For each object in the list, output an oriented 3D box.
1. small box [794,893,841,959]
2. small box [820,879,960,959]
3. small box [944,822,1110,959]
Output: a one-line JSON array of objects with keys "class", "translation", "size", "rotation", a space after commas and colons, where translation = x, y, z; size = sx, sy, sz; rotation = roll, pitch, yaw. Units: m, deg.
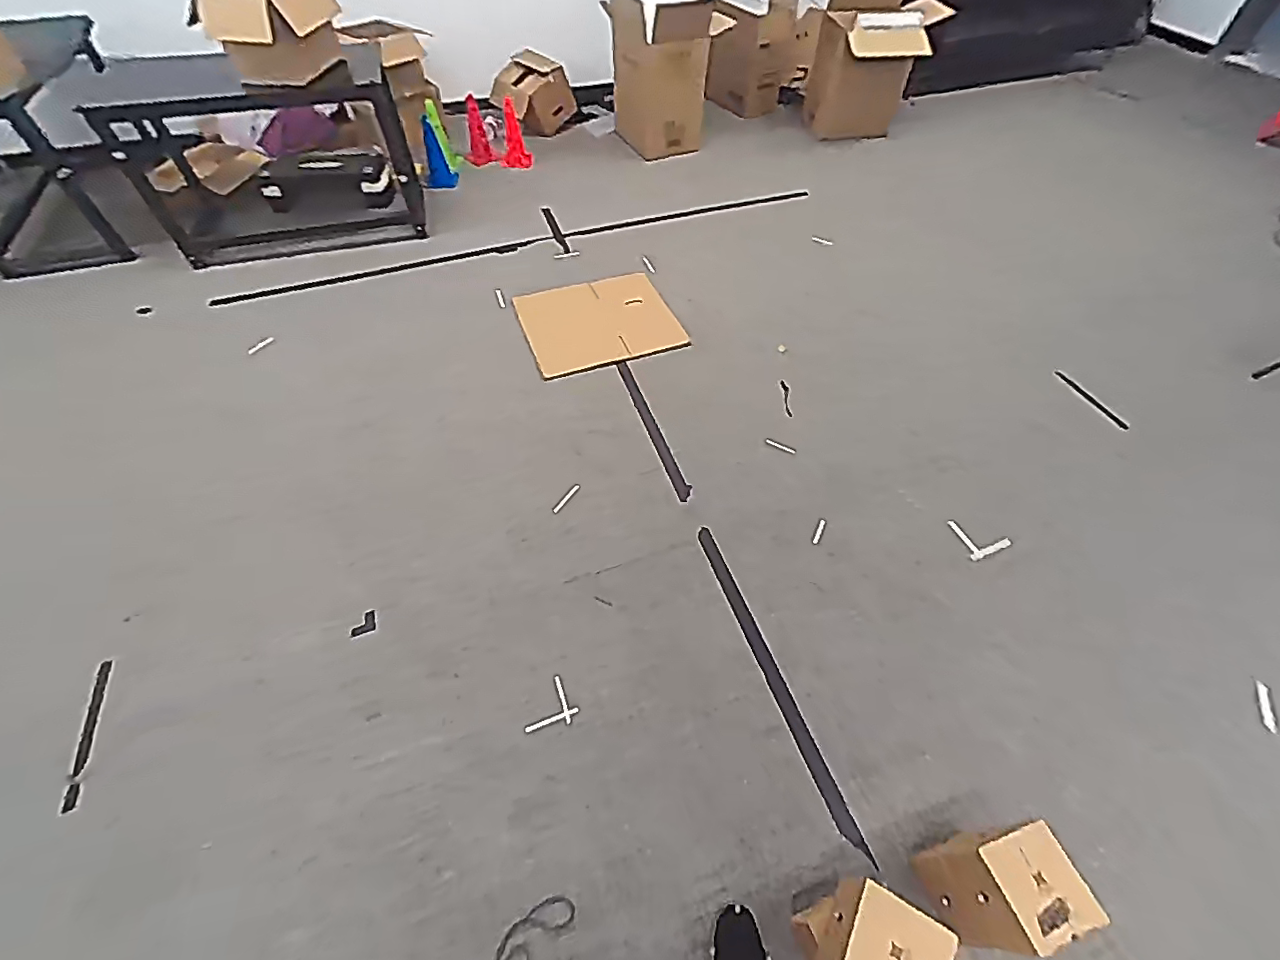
[{"class": "small box", "translation": [0.457, 1.014, 1.164], "size": [0.168, 0.176, 0.179], "rotation": [-18, 55, -14]}, {"class": "small box", "translation": [0.470, 0.908, 1.038], "size": [0.179, 0.176, 0.168], "rotation": [26, 57, 17]}, {"class": "small box", "translation": [0.771, 0.828, 1.100], "size": [0.168, 0.176, 0.179], "rotation": [-14, 53, -12]}]
